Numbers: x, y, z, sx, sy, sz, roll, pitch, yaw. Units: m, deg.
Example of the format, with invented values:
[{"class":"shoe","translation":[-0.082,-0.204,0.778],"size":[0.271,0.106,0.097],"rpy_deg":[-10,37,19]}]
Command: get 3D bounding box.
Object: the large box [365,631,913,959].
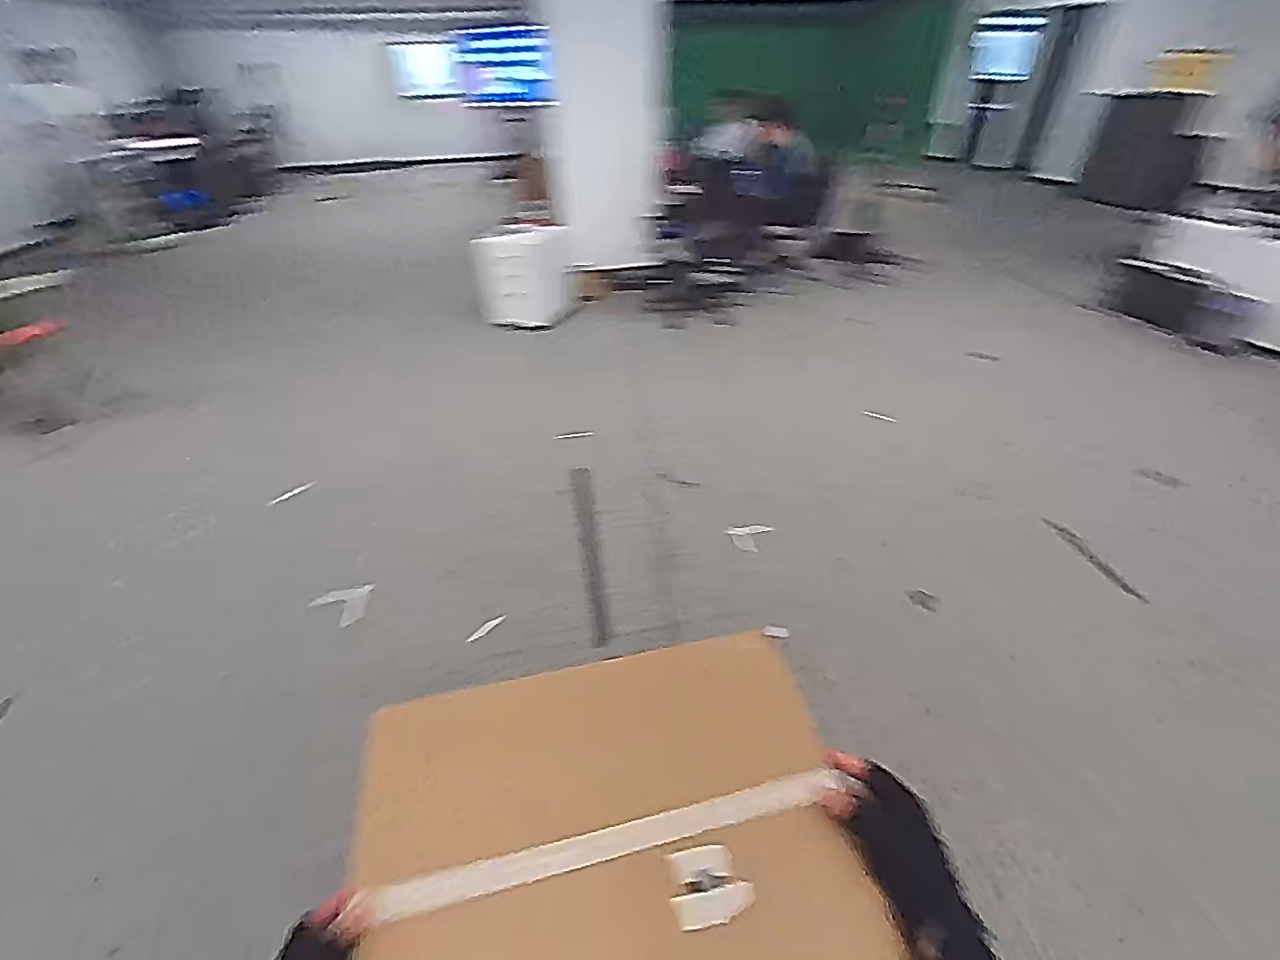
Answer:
[{"class":"large box","translation":[-0.026,0.407,0.562],"size":[0.408,0.320,0.320],"rpy_deg":[-8,47,-11]}]
